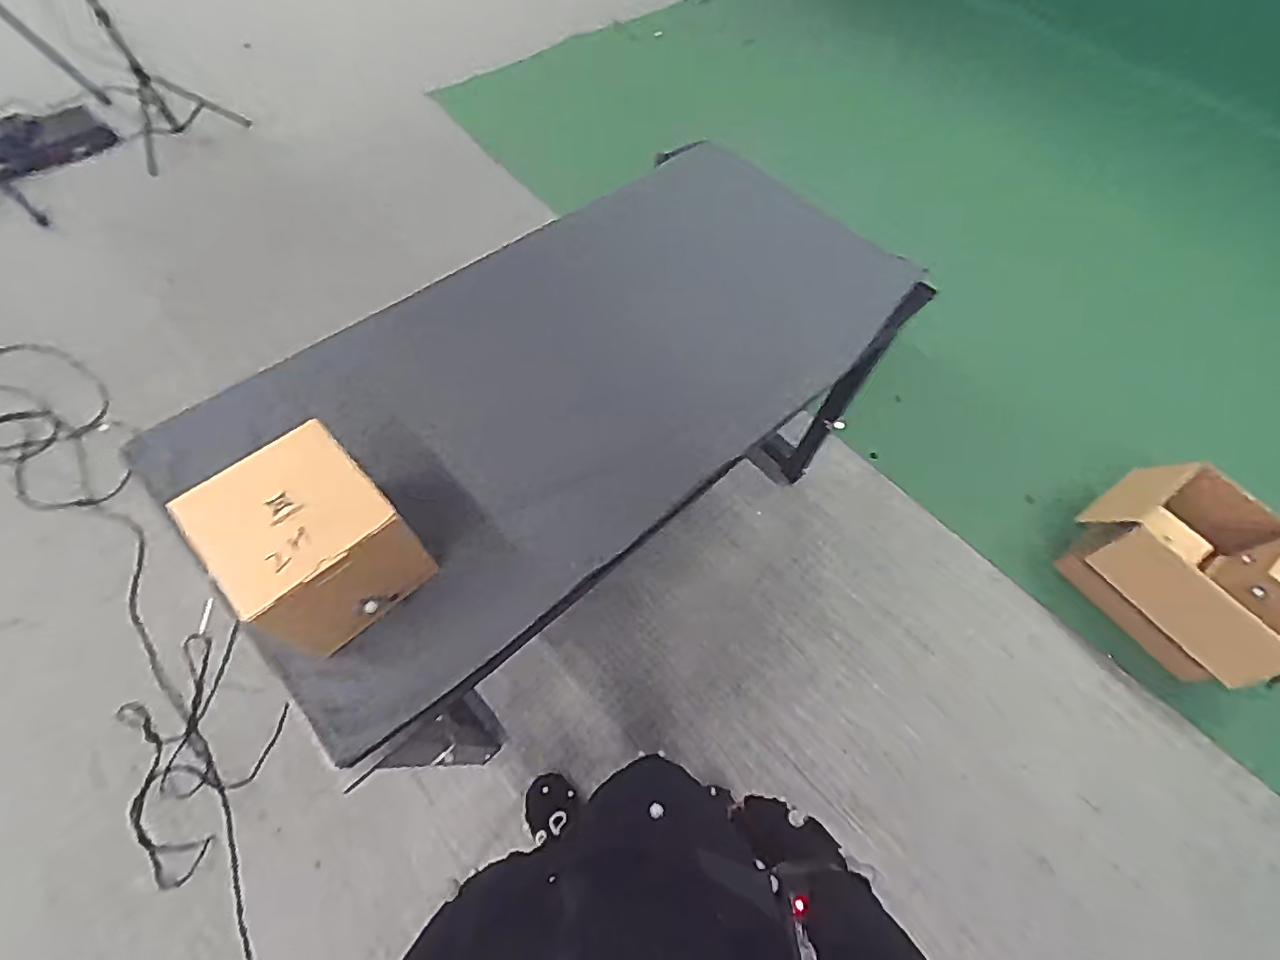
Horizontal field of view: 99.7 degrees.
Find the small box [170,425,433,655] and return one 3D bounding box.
[{"bbox_3d":[-0.376,0.076,0.632,0.168,0.176,0.179,-40,70,-23],"label":"small box"}]
